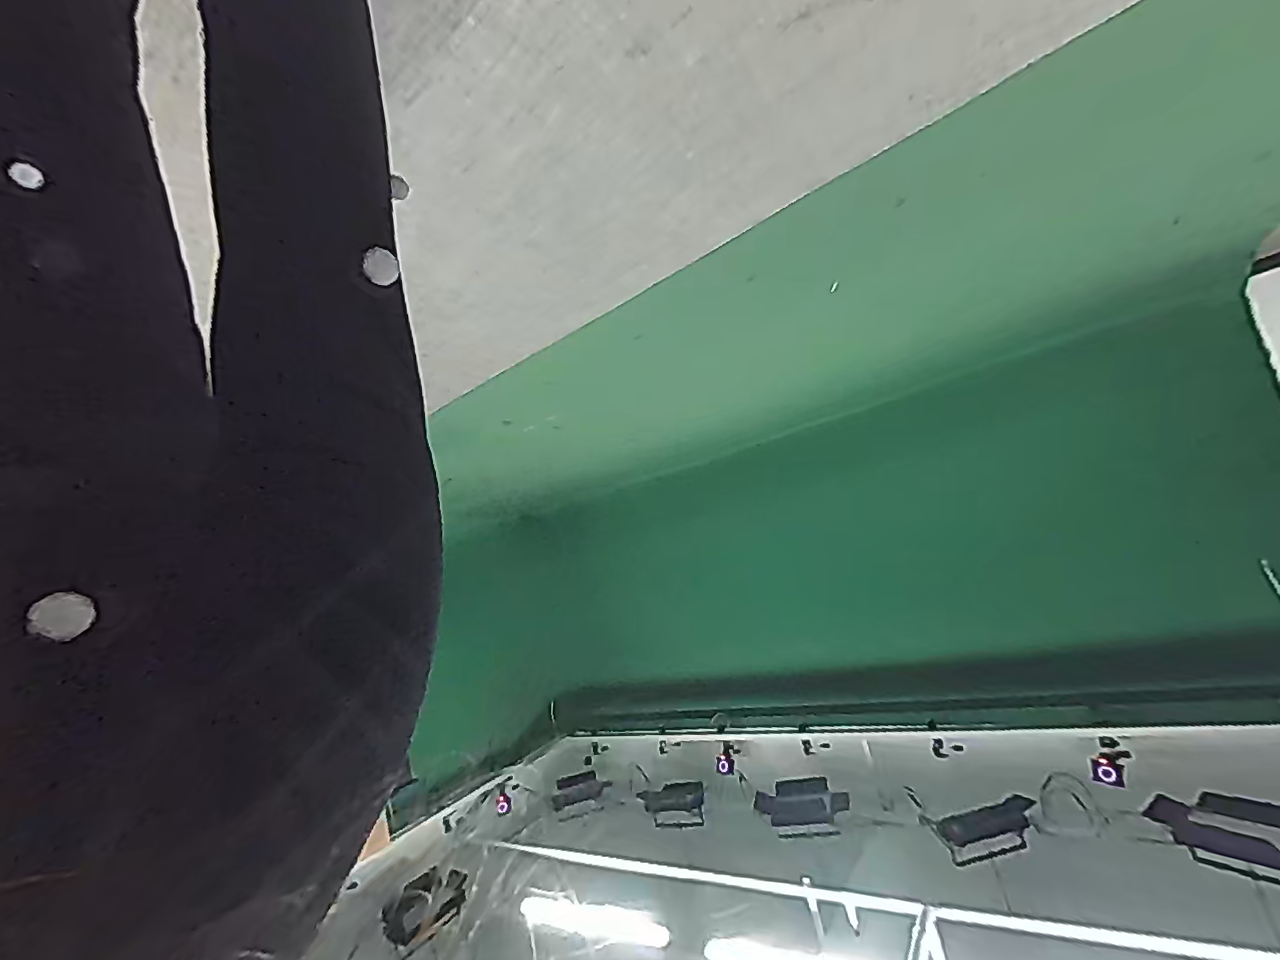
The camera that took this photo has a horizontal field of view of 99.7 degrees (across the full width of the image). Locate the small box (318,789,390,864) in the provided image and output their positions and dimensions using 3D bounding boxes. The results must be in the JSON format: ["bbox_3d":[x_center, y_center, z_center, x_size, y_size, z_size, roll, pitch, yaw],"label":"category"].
[{"bbox_3d":[-1.025,1.227,1.928,0.179,0.176,0.168,-18,169,34],"label":"small box"}]
